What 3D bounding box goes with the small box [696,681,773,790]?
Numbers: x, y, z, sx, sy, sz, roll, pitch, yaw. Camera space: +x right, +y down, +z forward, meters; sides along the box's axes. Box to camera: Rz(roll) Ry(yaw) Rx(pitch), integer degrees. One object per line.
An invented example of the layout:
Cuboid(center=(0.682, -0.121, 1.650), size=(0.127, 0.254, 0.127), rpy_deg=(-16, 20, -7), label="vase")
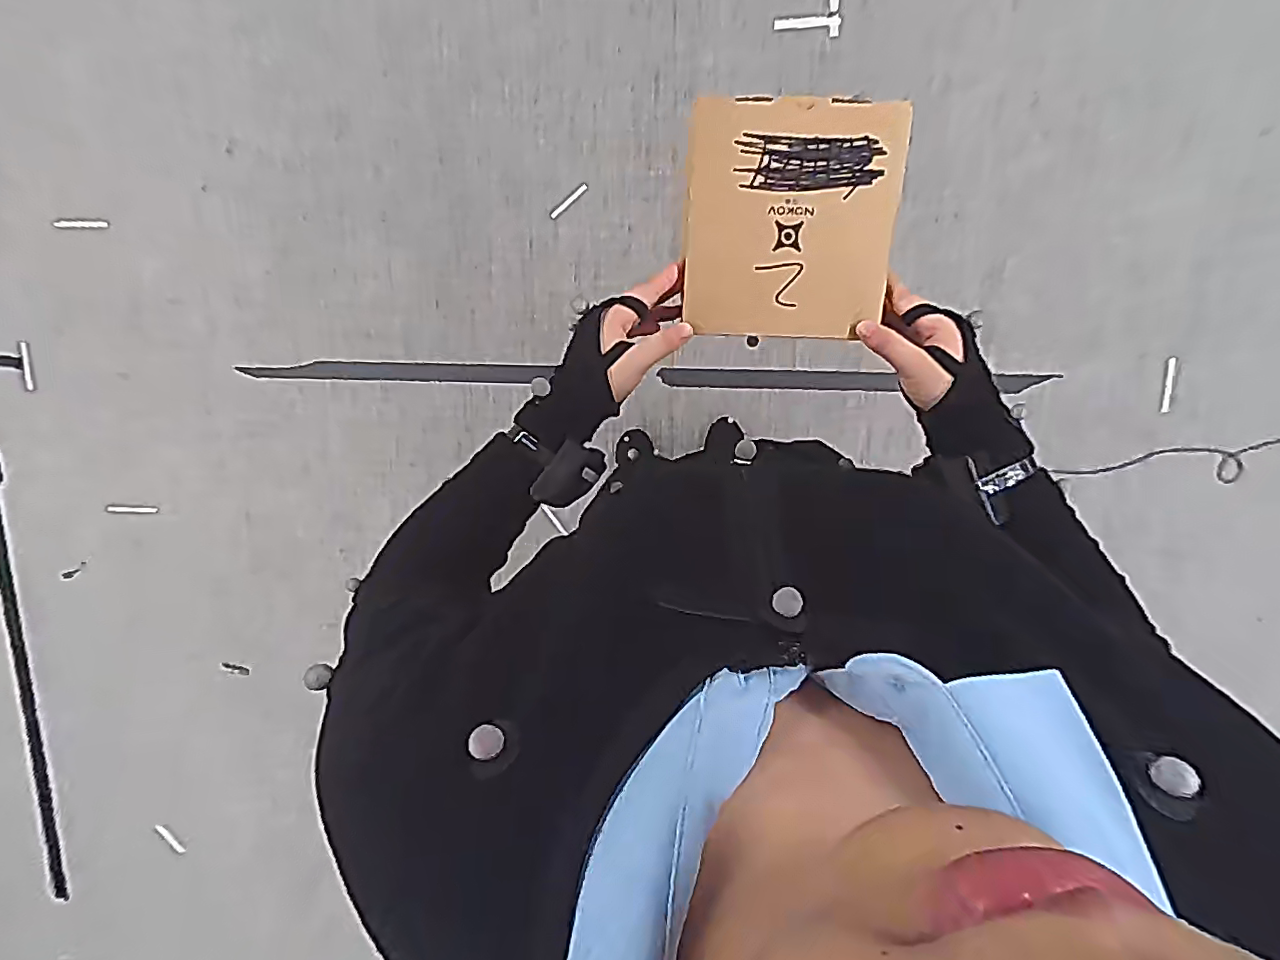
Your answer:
Cuboid(center=(0.221, 0.607, 1.296), size=(0.168, 0.176, 0.179), rpy_deg=(-2, 97, 3), label="small box")
